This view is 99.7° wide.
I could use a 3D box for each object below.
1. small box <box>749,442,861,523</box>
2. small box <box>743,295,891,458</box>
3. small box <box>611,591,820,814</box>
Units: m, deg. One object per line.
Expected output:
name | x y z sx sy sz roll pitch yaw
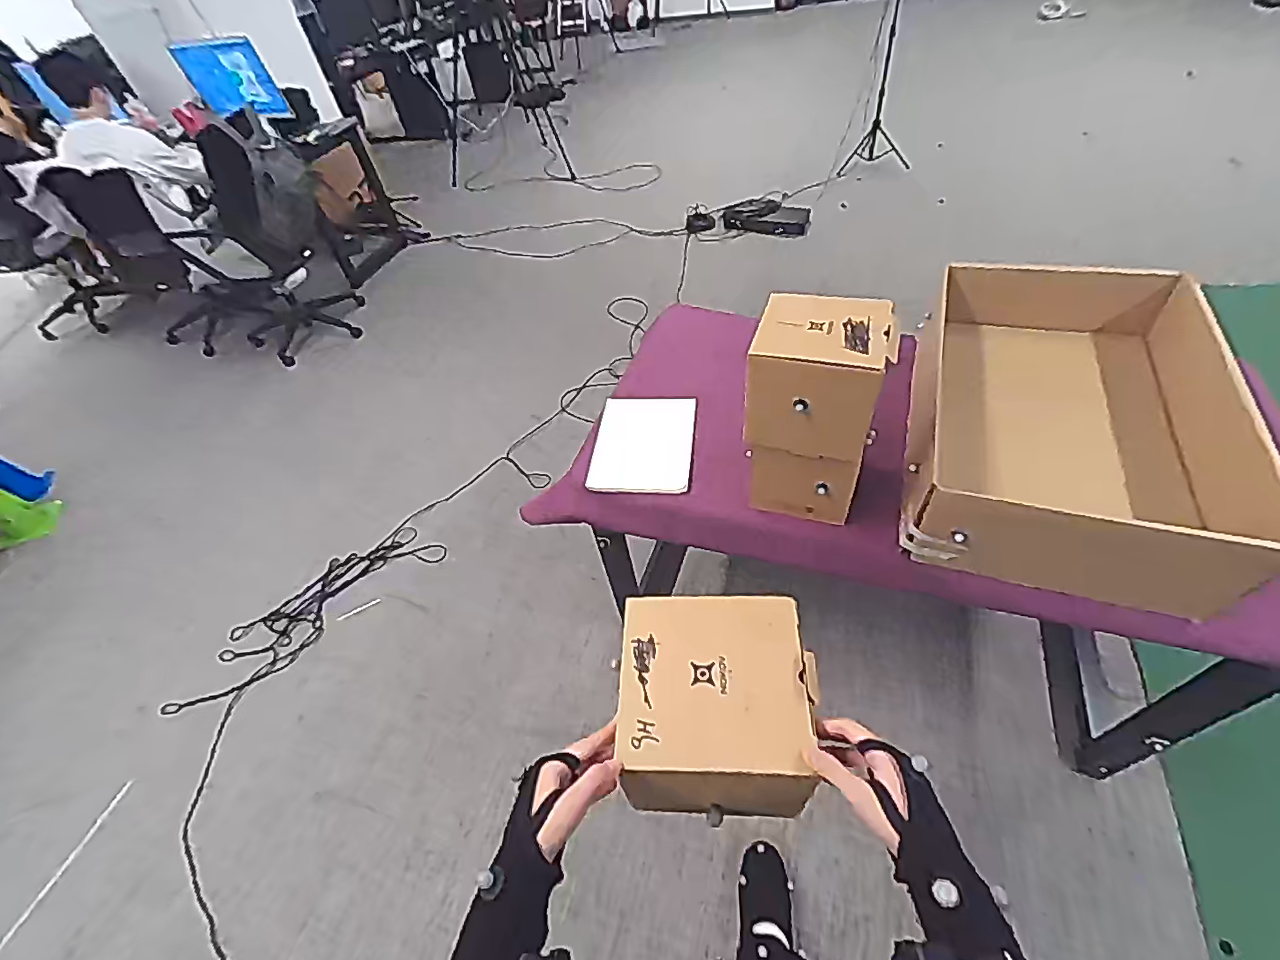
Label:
small box | 0.288 -0.050 0.934 0.168 0.176 0.179 12 50 18
small box | 0.259 -0.153 0.809 0.179 0.176 0.168 11 50 19
small box | 0.072 0.232 0.560 0.179 0.176 0.168 0 47 6
